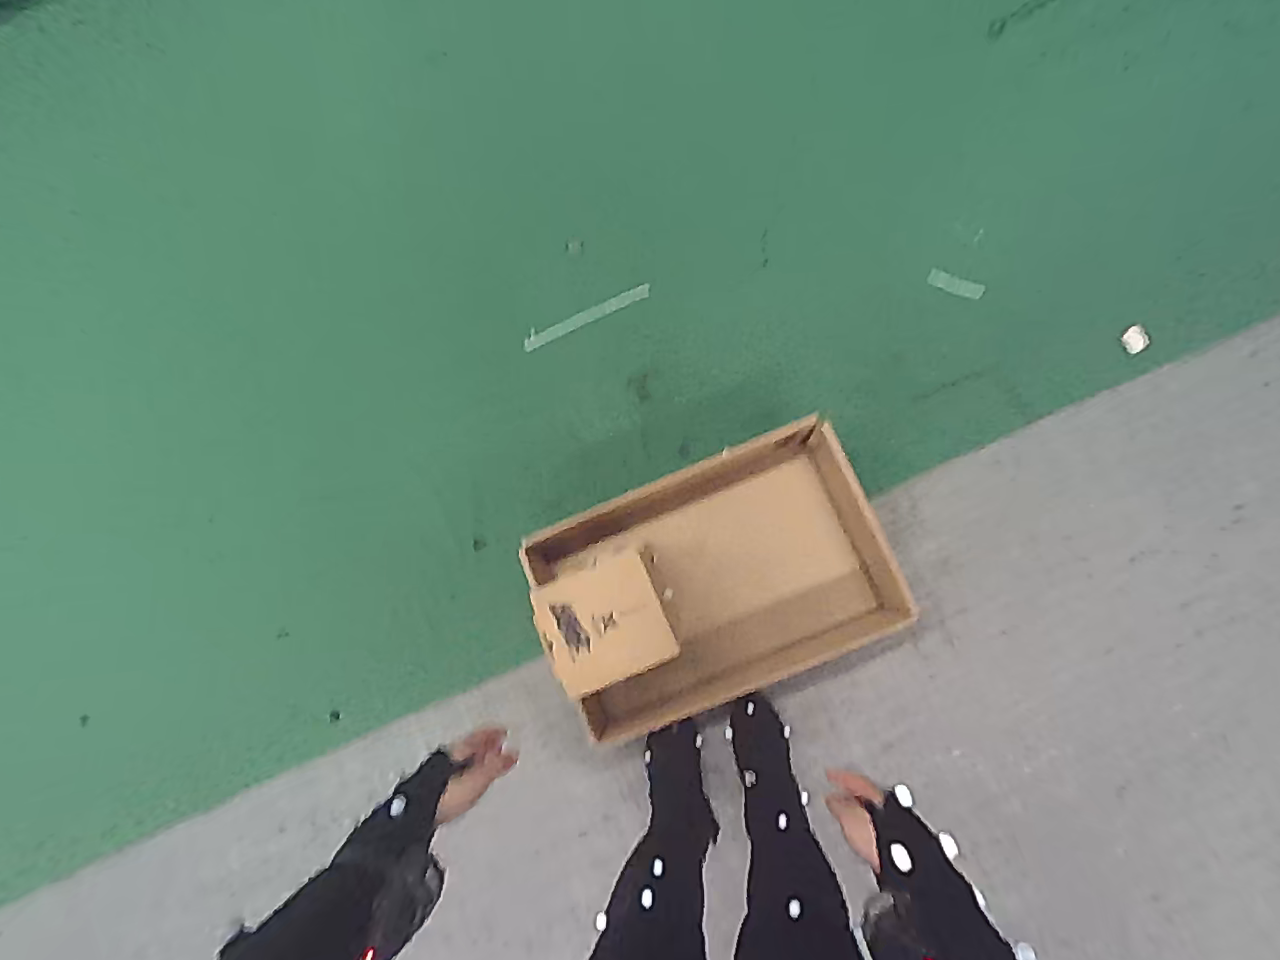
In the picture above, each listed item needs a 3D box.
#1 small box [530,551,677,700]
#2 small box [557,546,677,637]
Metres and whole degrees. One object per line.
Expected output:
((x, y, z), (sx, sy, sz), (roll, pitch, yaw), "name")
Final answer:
((-0.048, 0.222, 0.860), (0.179, 0.176, 0.168), (-23, 82, 0), "small box")
((-0.035, 0.233, 1.024), (0.168, 0.176, 0.179), (-24, 82, 1), "small box")
